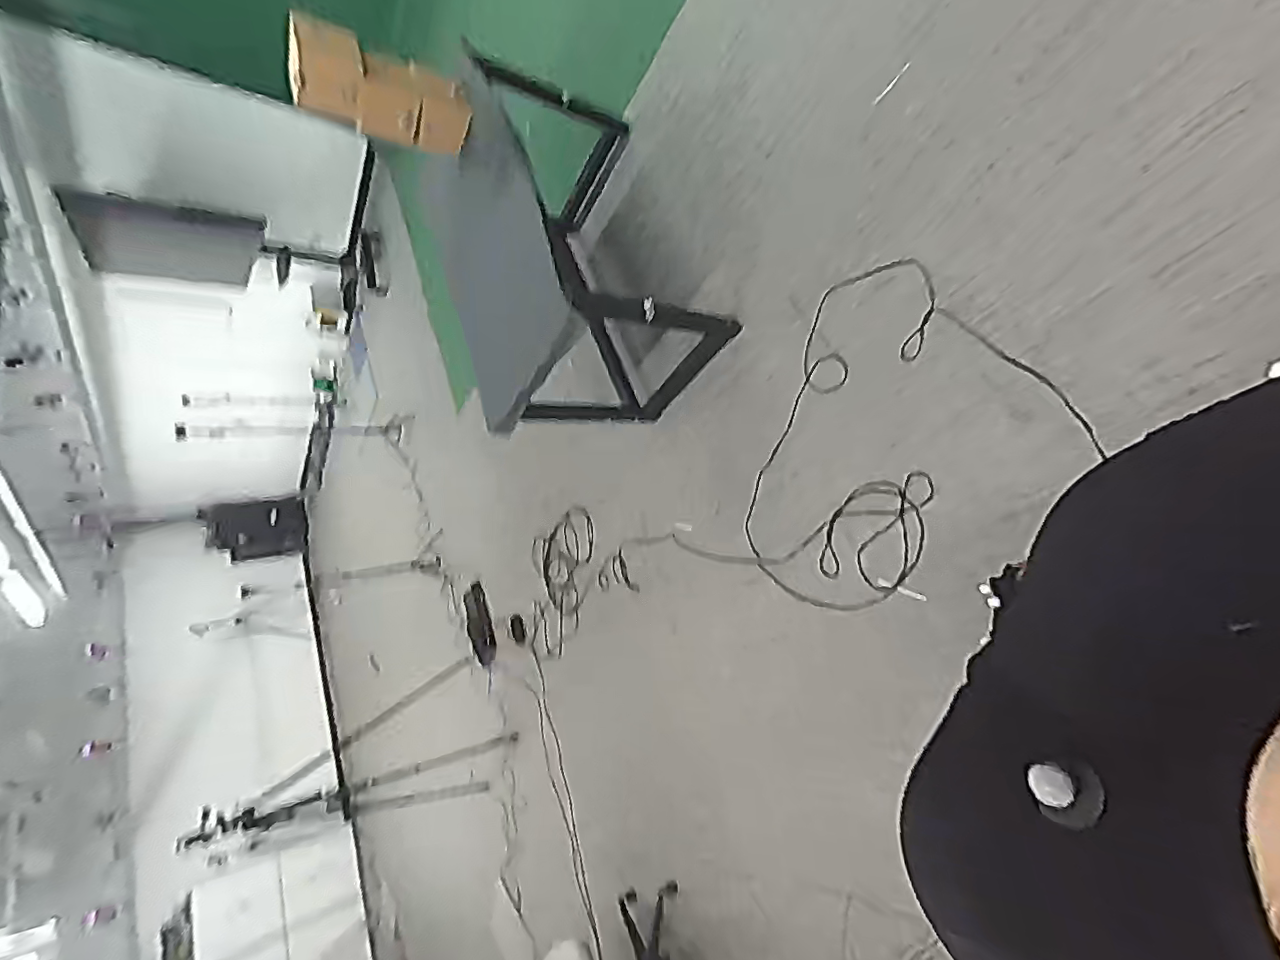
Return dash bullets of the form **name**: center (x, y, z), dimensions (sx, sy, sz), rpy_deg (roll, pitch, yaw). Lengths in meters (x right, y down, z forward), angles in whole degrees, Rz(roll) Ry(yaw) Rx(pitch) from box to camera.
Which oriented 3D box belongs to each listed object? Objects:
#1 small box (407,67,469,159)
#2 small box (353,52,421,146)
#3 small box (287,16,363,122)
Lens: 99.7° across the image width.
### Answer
- **small box**: center (-0.699, -1.235, 1.836), dimensions (0.179, 0.176, 0.168), rpy_deg (-37, 67, 47)
- **small box**: center (-0.822, -1.211, 1.732), dimensions (0.168, 0.176, 0.179), rpy_deg (-48, 60, 45)
- **small box**: center (-0.945, -1.219, 1.620), dimensions (0.168, 0.176, 0.179), rpy_deg (-42, 63, 48)
